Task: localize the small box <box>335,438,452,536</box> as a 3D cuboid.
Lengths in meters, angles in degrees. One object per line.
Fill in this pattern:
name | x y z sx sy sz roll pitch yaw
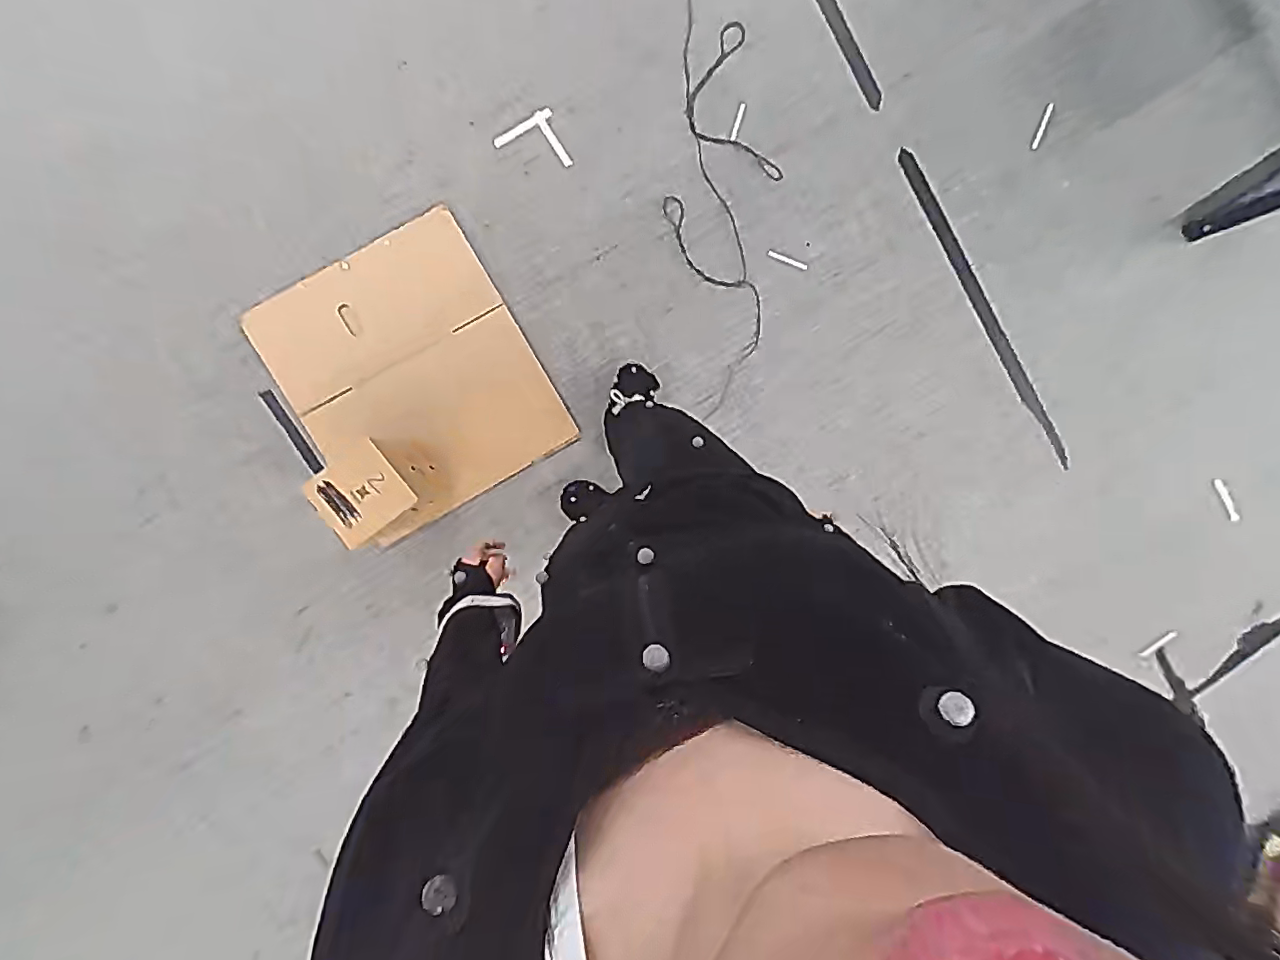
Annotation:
small box | -0.600 0.014 1.343 0.179 0.176 0.168 -41 96 -3
